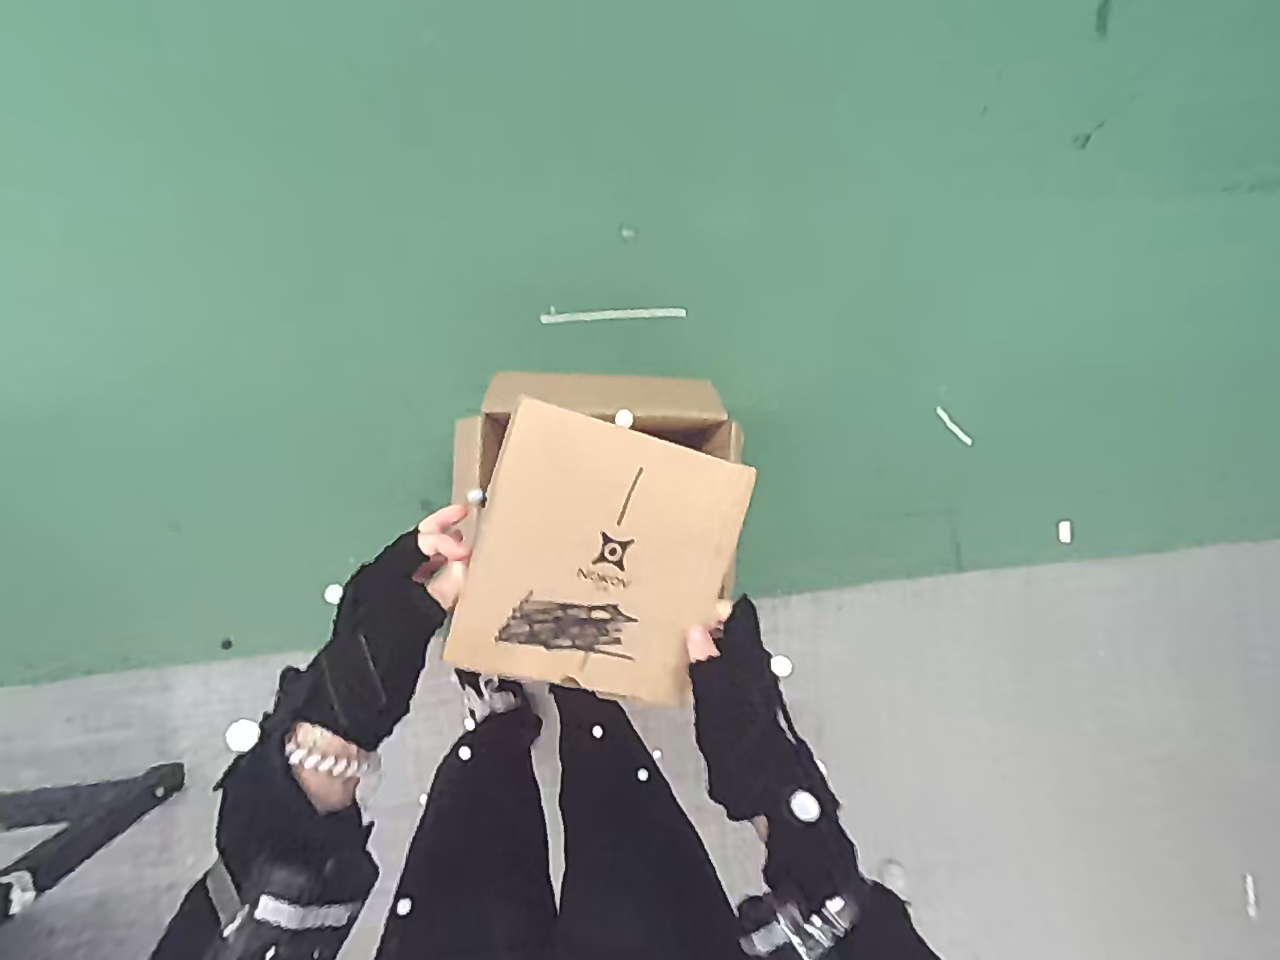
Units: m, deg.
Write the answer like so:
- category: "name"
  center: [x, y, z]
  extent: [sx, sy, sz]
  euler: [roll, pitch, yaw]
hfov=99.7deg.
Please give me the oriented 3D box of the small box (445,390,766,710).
- category: "small box"
  center: [-0.036, 0.042, 0.415]
  extent: [0.168, 0.176, 0.179]
  euler: [16, 93, -17]
